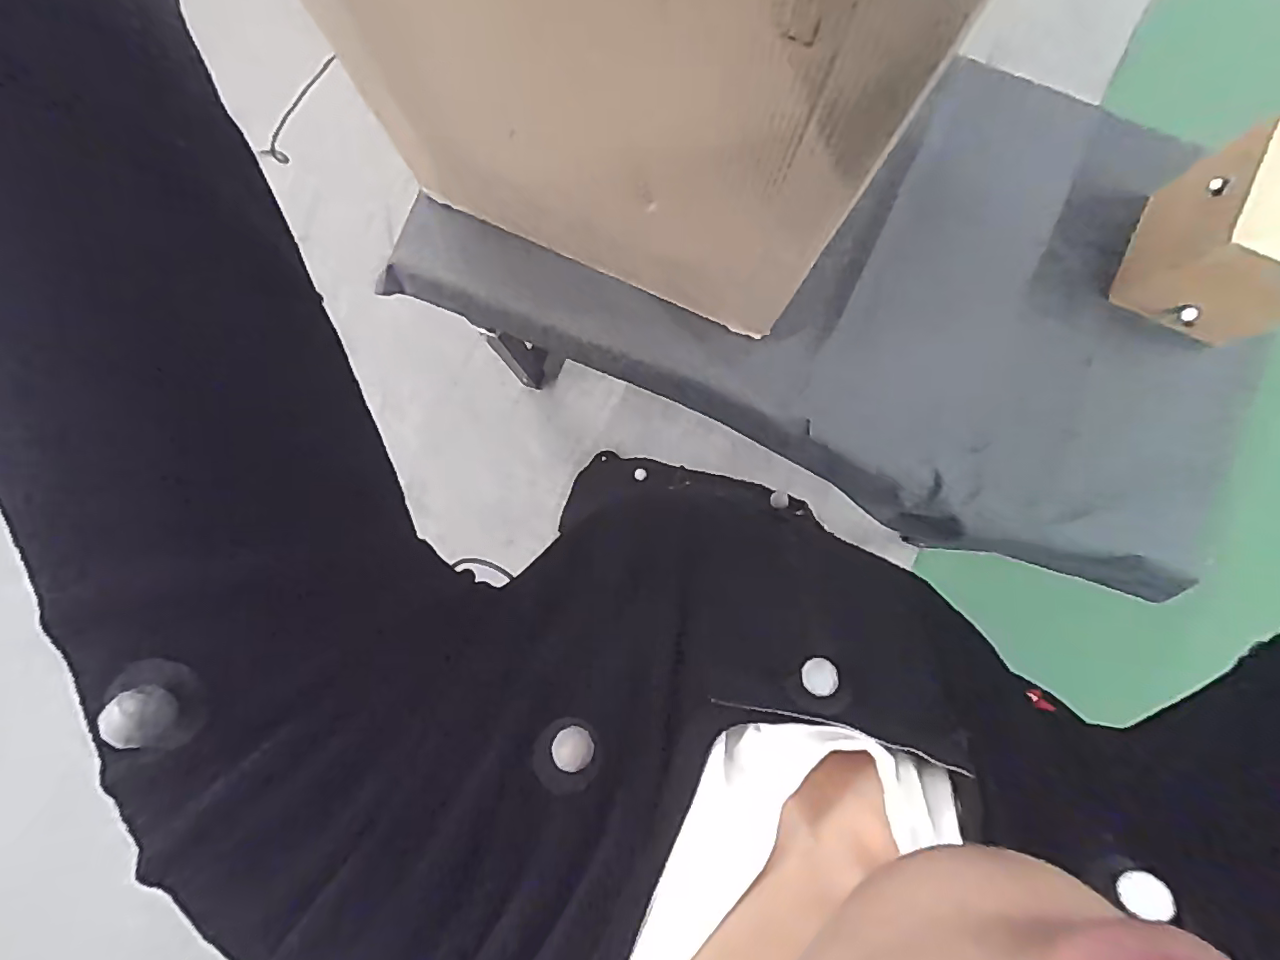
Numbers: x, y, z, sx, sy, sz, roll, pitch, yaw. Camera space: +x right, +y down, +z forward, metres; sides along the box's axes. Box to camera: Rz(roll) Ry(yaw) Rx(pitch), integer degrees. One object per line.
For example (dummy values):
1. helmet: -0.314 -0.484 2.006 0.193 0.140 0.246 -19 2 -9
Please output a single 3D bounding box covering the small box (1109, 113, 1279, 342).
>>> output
1. small box: 0.772 -0.310 0.700 0.168 0.176 0.179 25 86 2
